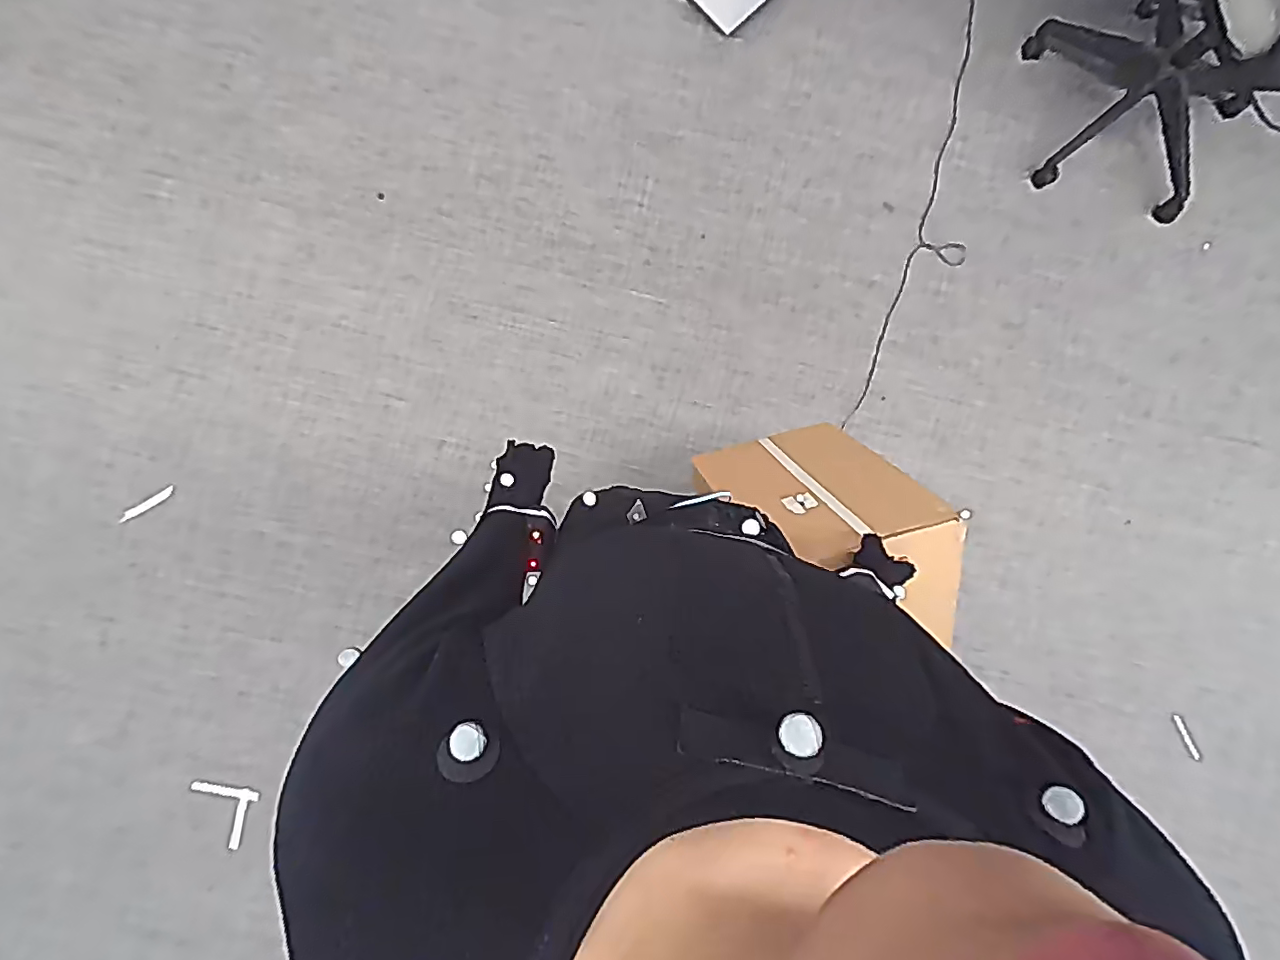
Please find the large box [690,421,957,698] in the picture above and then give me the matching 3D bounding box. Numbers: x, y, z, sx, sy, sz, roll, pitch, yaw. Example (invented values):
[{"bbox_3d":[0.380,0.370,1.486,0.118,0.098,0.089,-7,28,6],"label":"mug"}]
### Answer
[{"bbox_3d":[0.313,0.127,1.042,0.320,0.408,0.320,-15,120,-5],"label":"large box"}]
